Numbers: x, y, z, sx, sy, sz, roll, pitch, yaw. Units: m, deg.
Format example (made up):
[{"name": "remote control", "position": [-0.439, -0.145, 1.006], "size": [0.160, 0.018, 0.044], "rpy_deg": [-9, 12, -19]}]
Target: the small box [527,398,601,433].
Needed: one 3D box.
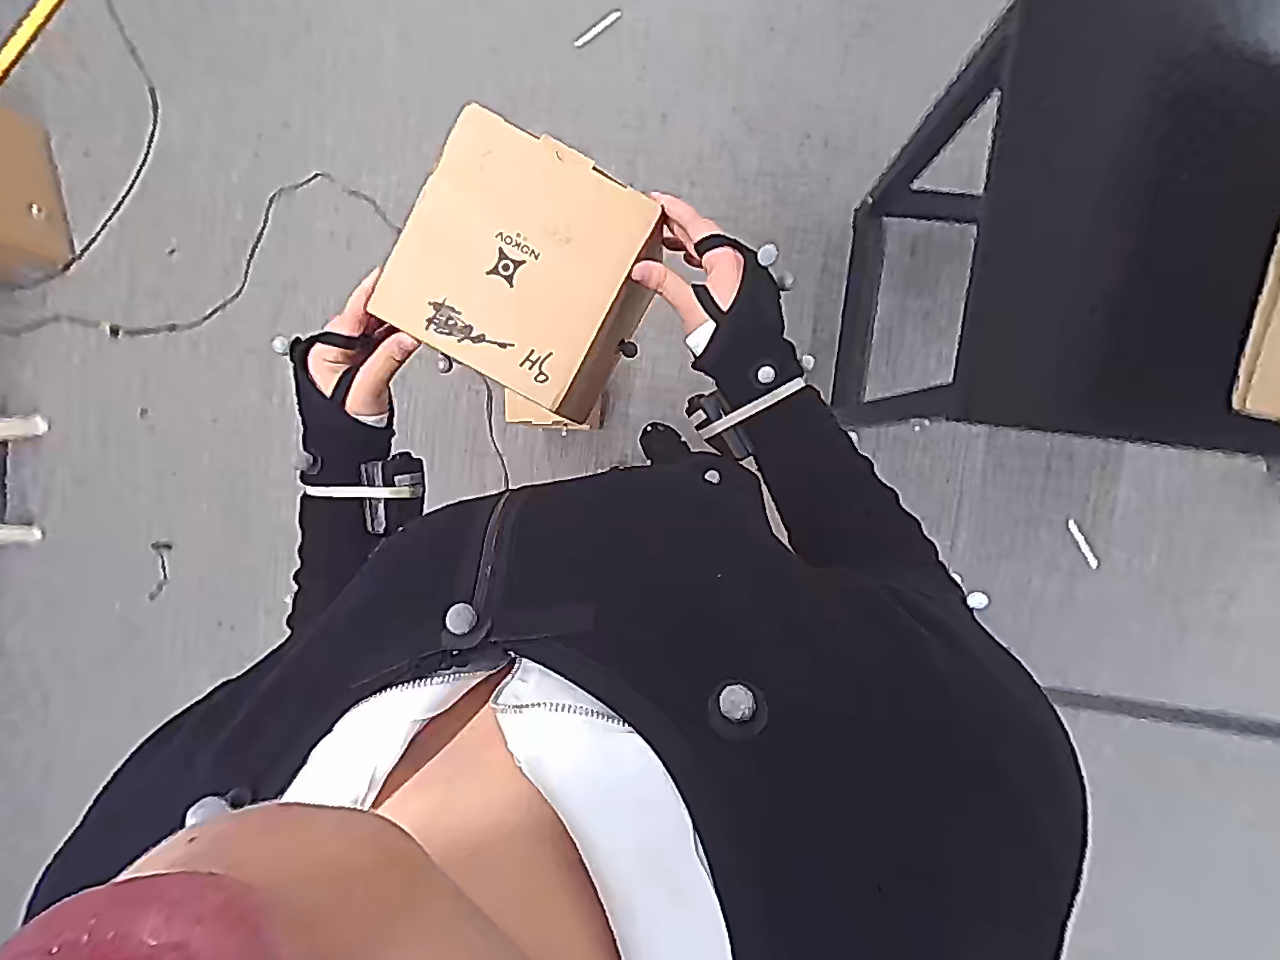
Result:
[{"name": "small box", "position": [-0.196, -0.216, 1.420], "size": [0.168, 0.176, 0.179], "rpy_deg": [3, 94, 5]}]

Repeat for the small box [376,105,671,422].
[{"name": "small box", "position": [-0.088, -0.169, 0.485], "size": [0.168, 0.176, 0.179], "rpy_deg": [30, 92, 1]}]

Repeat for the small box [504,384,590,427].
[{"name": "small box", "position": [-0.210, -0.214, 1.259], "size": [0.168, 0.176, 0.179], "rpy_deg": [0, 92, 4]}]
